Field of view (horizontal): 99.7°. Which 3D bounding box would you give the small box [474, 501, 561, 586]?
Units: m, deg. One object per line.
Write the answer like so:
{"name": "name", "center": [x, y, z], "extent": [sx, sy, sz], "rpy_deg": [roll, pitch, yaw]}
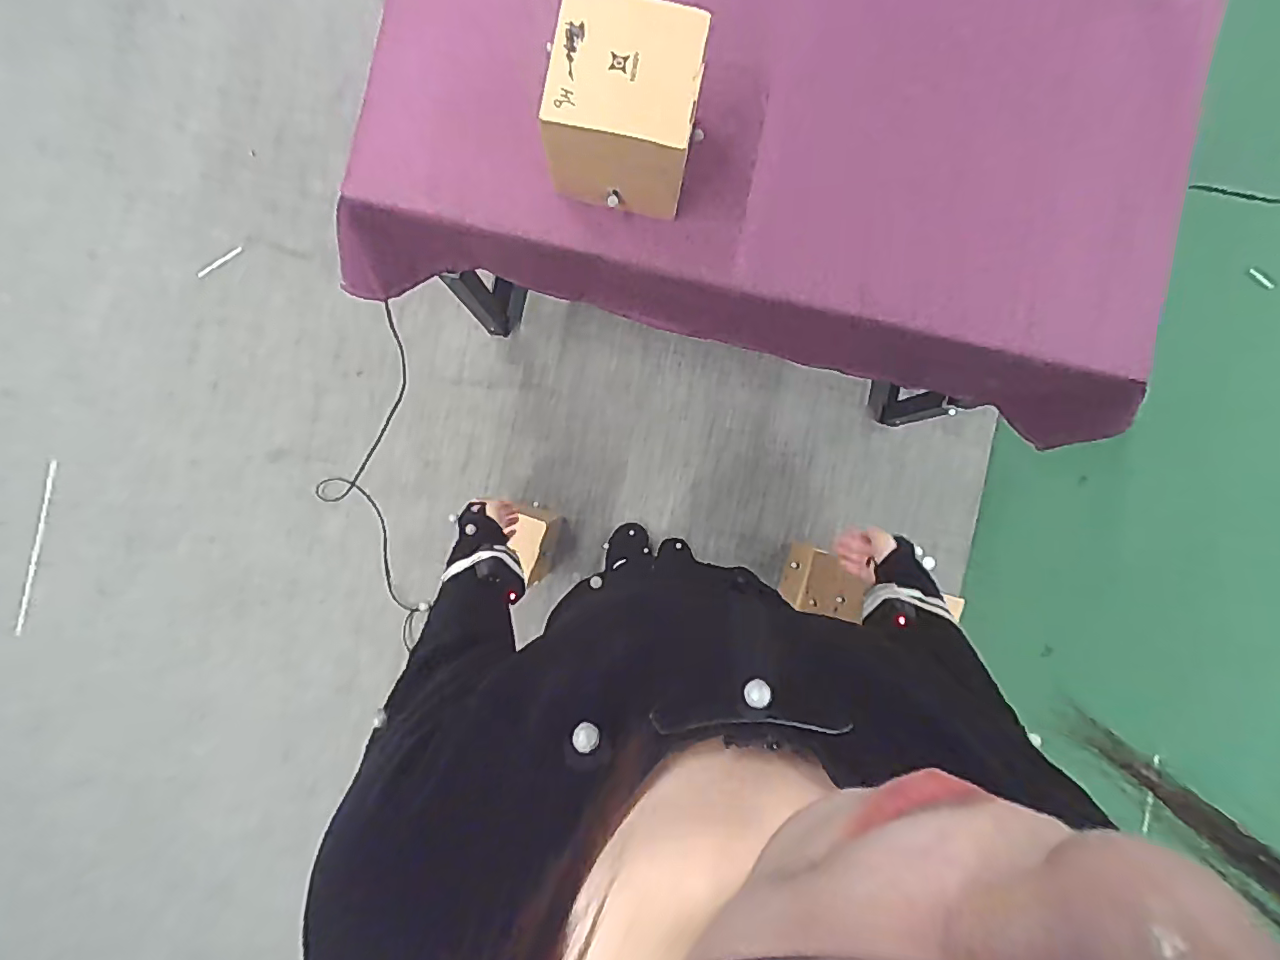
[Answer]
{"name": "small box", "center": [-0.312, 0.159, 1.416], "extent": [0.168, 0.176, 0.179], "rpy_deg": [16, 88, -2]}

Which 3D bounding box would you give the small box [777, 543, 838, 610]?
{"name": "small box", "center": [0.486, 0.270, 1.441], "extent": [0.179, 0.176, 0.168], "rpy_deg": [16, 89, -3]}

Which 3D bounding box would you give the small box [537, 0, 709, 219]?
{"name": "small box", "center": [-0.023, -0.469, 0.705], "extent": [0.179, 0.176, 0.168], "rpy_deg": [11, 88, -2]}

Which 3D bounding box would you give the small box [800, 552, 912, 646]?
{"name": "small box", "center": [0.500, 0.272, 1.279], "extent": [0.179, 0.176, 0.168], "rpy_deg": [14, 90, -3]}
